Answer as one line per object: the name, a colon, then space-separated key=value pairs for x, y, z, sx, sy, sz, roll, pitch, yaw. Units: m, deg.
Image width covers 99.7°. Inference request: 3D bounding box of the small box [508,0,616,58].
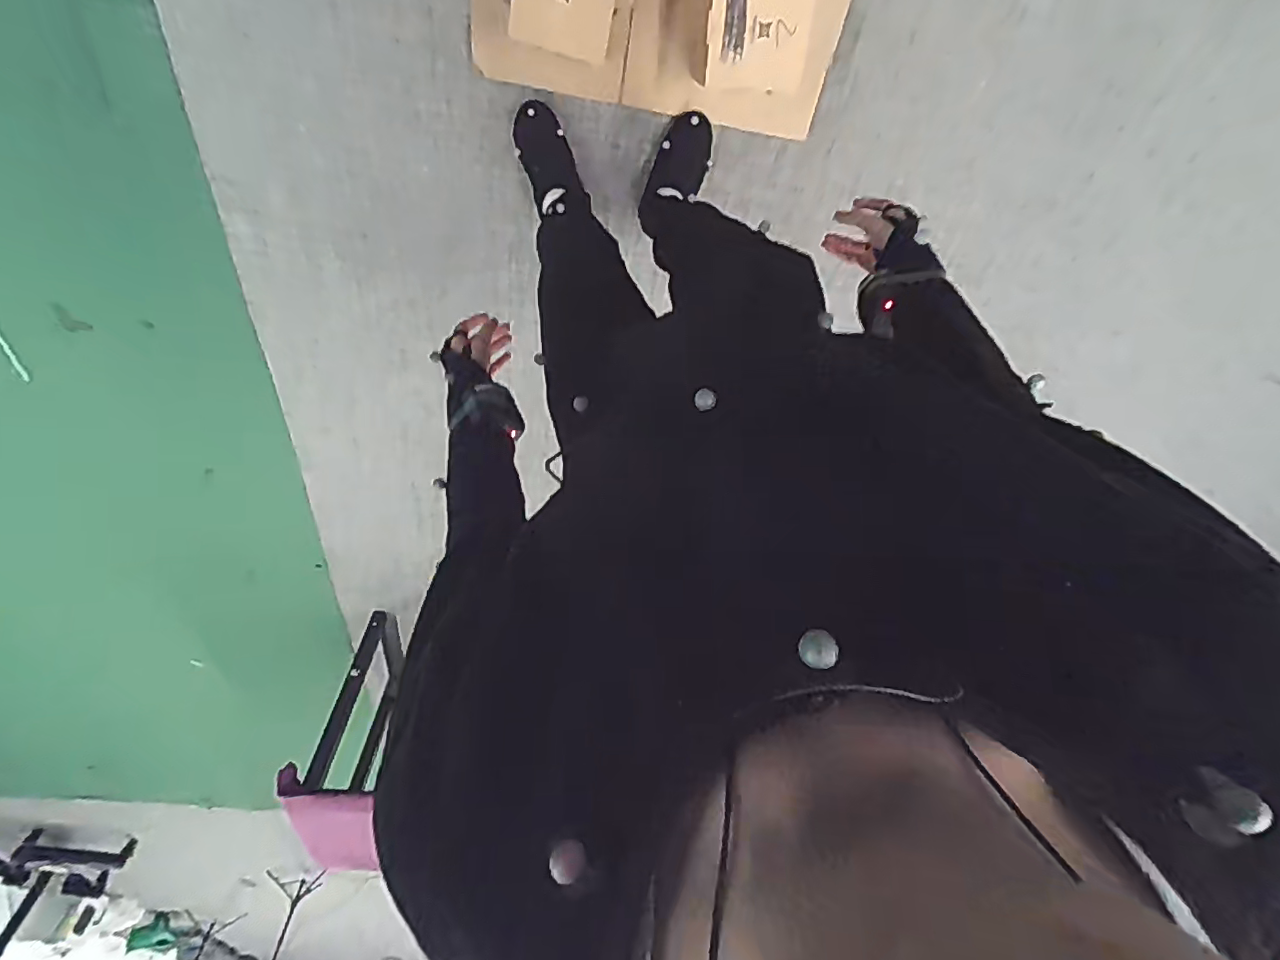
small box: x=-0.120 y=-0.852 z=0.917 sx=0.168 sy=0.176 sz=0.179 roll=11 pitch=129 yaw=-12
